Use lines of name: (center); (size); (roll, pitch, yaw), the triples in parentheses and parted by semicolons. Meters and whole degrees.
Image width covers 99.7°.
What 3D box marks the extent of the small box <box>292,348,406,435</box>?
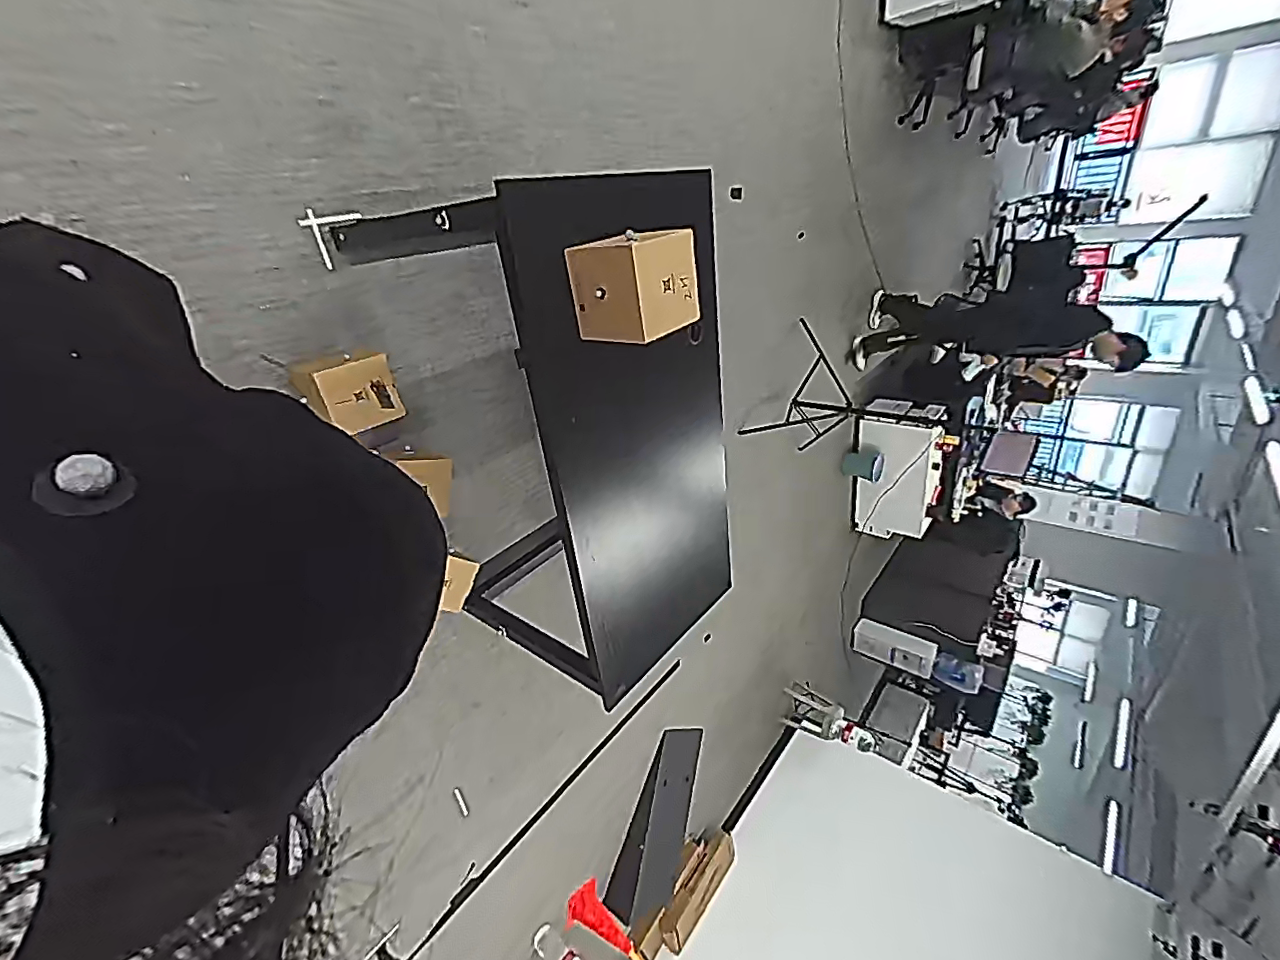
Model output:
small box: (-0.733, -0.231, 1.365); (0.179, 0.176, 0.168); (-33, 126, -38)

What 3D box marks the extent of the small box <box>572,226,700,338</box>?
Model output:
small box: (-0.010, -0.373, 1.020); (0.179, 0.176, 0.168); (-36, 128, -39)

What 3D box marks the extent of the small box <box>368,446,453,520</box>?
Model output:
small box: (-0.656, 0.002, 1.540); (0.168, 0.176, 0.179); (-7, 106, -50)

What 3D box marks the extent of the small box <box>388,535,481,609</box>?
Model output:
small box: (-0.632, 0.280, 1.659); (0.179, 0.176, 0.168); (29, 79, -51)
